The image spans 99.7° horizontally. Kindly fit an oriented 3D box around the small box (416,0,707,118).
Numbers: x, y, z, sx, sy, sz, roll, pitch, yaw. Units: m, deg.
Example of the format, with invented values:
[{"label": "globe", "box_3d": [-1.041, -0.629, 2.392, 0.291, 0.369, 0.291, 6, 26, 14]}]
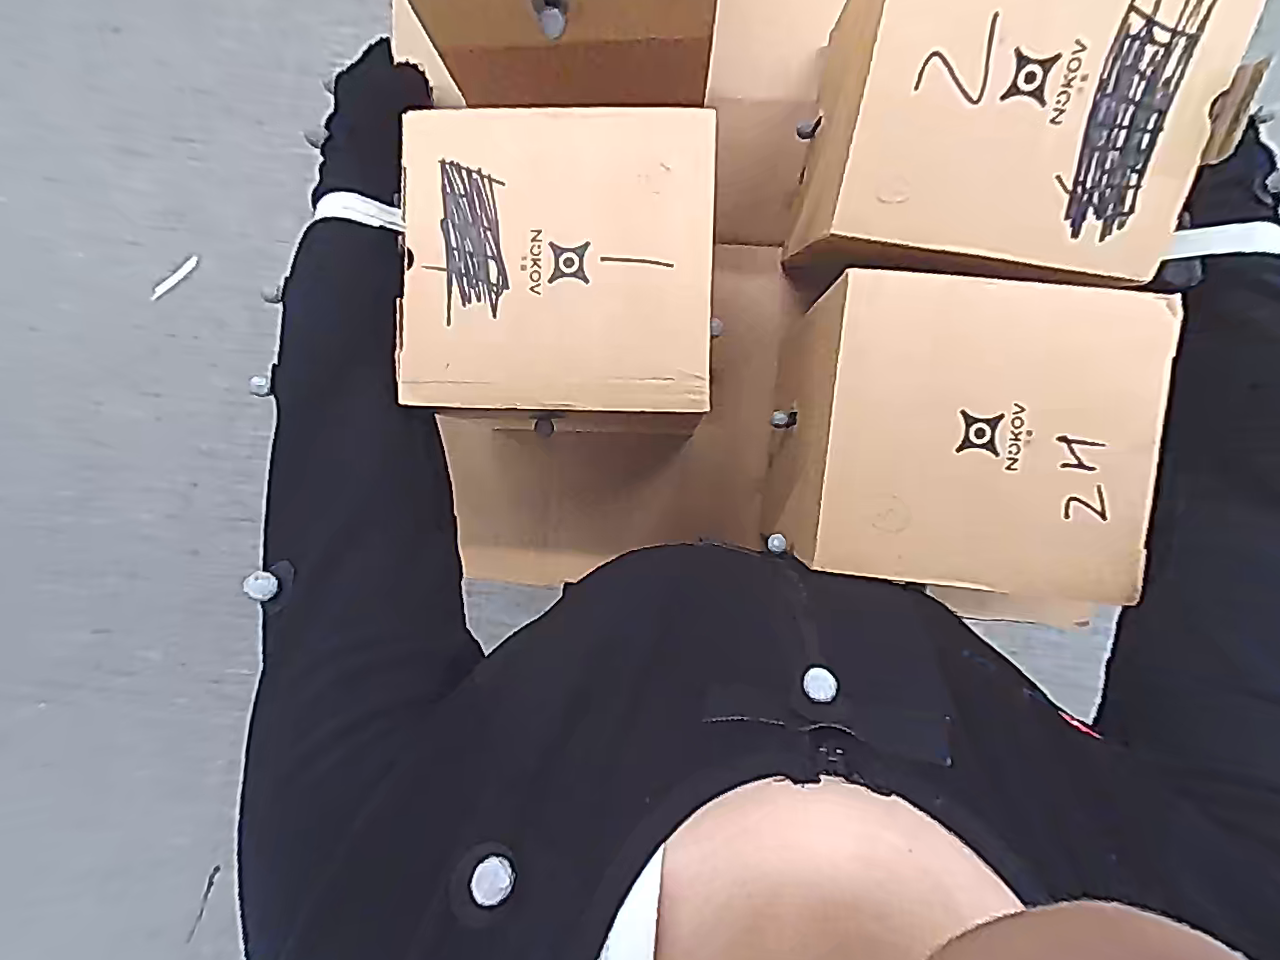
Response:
[{"label": "small box", "box_3d": [-0.046, -0.364, 0.340, 0.179, 0.176, 0.168, -3, 94, 4]}]
